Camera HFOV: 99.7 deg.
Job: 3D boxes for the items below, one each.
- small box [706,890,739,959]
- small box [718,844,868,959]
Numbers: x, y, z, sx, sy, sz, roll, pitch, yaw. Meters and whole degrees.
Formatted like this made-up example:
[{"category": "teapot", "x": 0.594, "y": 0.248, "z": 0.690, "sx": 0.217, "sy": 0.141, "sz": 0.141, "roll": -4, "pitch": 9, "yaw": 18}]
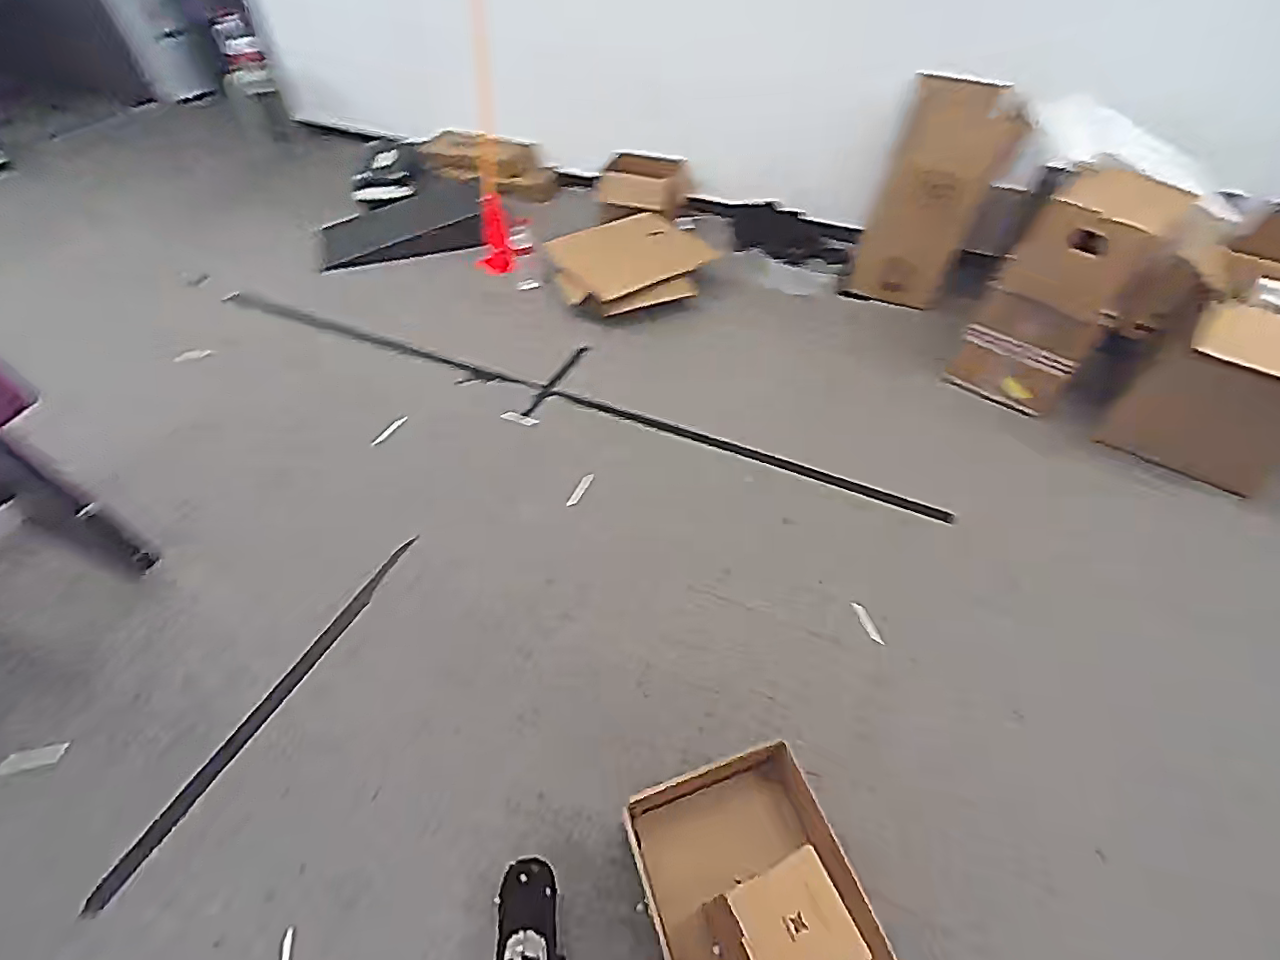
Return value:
[{"category": "small box", "x": 0.244, "y": 0.875, "z": 1.051, "sx": 0.179, "sy": 0.176, "sz": 0.168, "roll": -15, "pitch": 52, "yaw": -13}, {"category": "small box", "x": 0.248, "y": 0.766, "z": 0.931, "sx": 0.179, "sy": 0.176, "sz": 0.168, "roll": -17, "pitch": 54, "yaw": -17}]
